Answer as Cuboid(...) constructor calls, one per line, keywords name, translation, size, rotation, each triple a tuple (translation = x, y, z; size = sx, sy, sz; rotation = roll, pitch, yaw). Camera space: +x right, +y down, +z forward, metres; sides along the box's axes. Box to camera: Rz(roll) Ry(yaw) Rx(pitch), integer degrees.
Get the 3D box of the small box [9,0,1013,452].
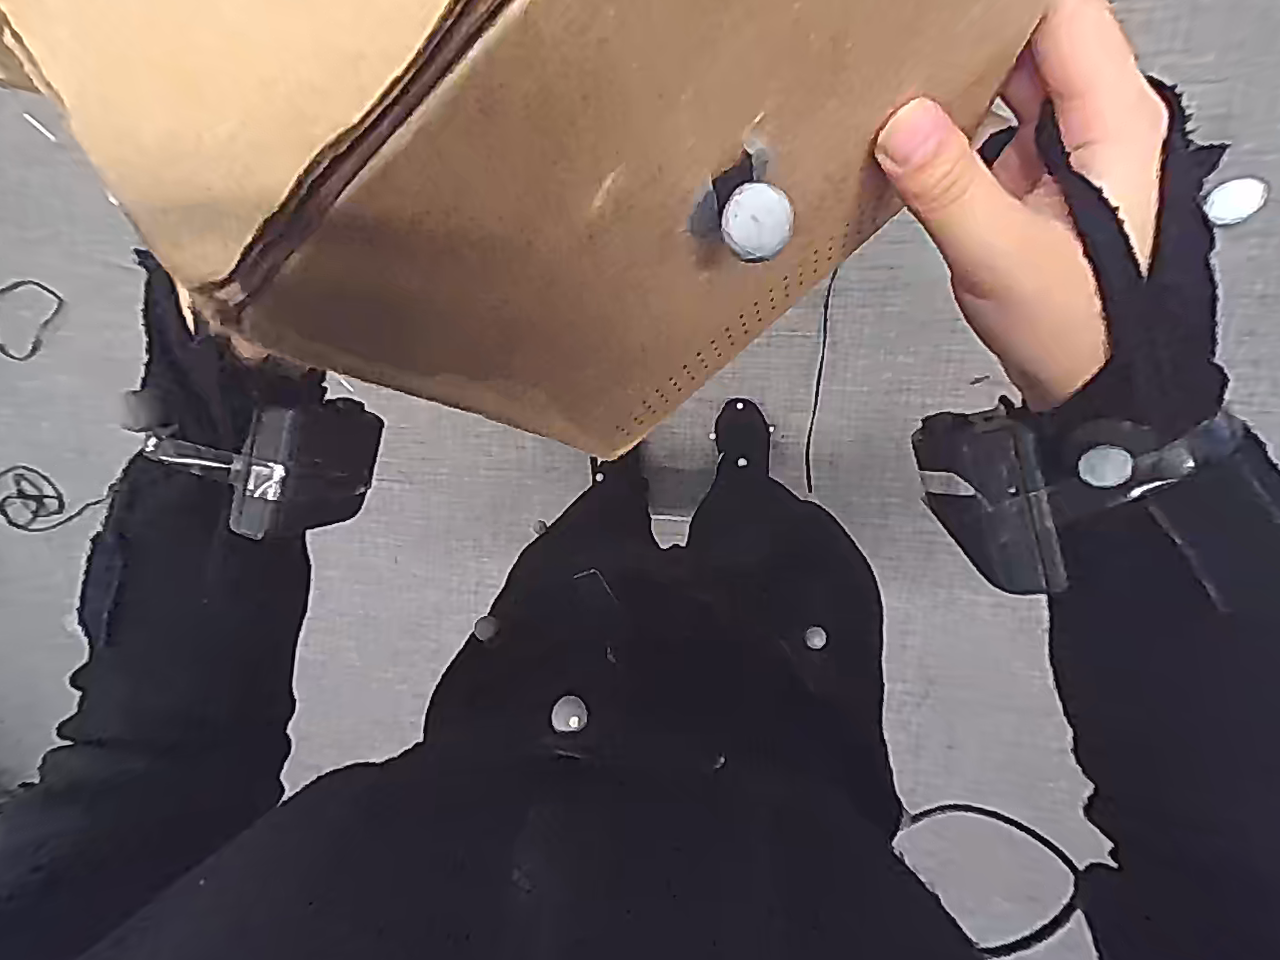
Cuboid(name="small box", translation=(-0.016, -0.124, 0.152), size=(0.179, 0.176, 0.168), rotation=(-41, 79, 9))
